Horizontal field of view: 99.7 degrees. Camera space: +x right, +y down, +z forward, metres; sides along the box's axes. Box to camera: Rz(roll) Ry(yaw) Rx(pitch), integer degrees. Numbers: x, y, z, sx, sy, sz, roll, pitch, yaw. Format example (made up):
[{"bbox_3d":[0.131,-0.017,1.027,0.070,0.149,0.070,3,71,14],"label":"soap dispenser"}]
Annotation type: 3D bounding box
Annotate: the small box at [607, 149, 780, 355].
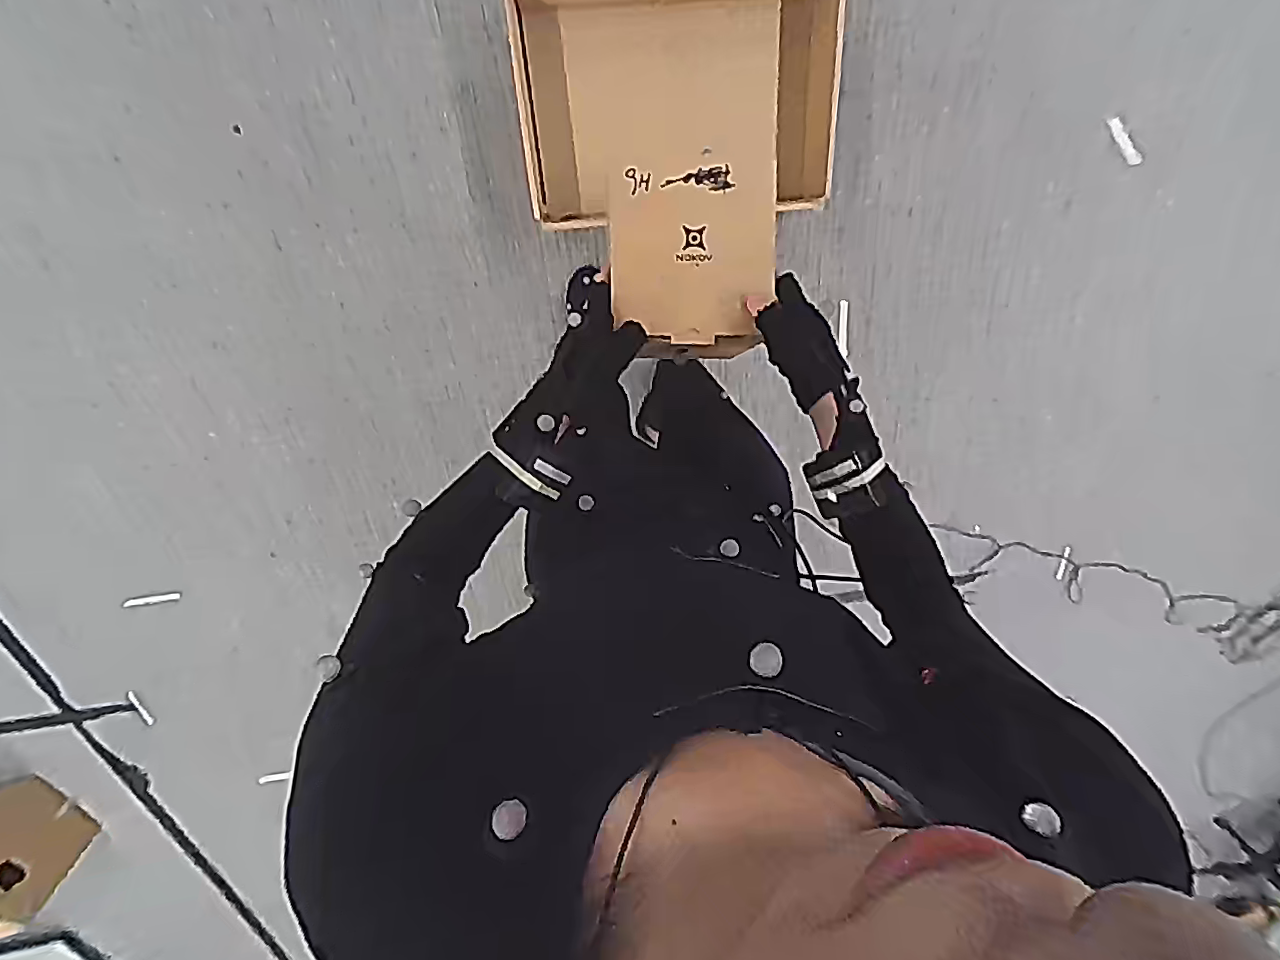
[{"bbox_3d":[0.048,-0.236,0.604,0.168,0.176,0.179,-1,95,-5],"label":"small box"}]
